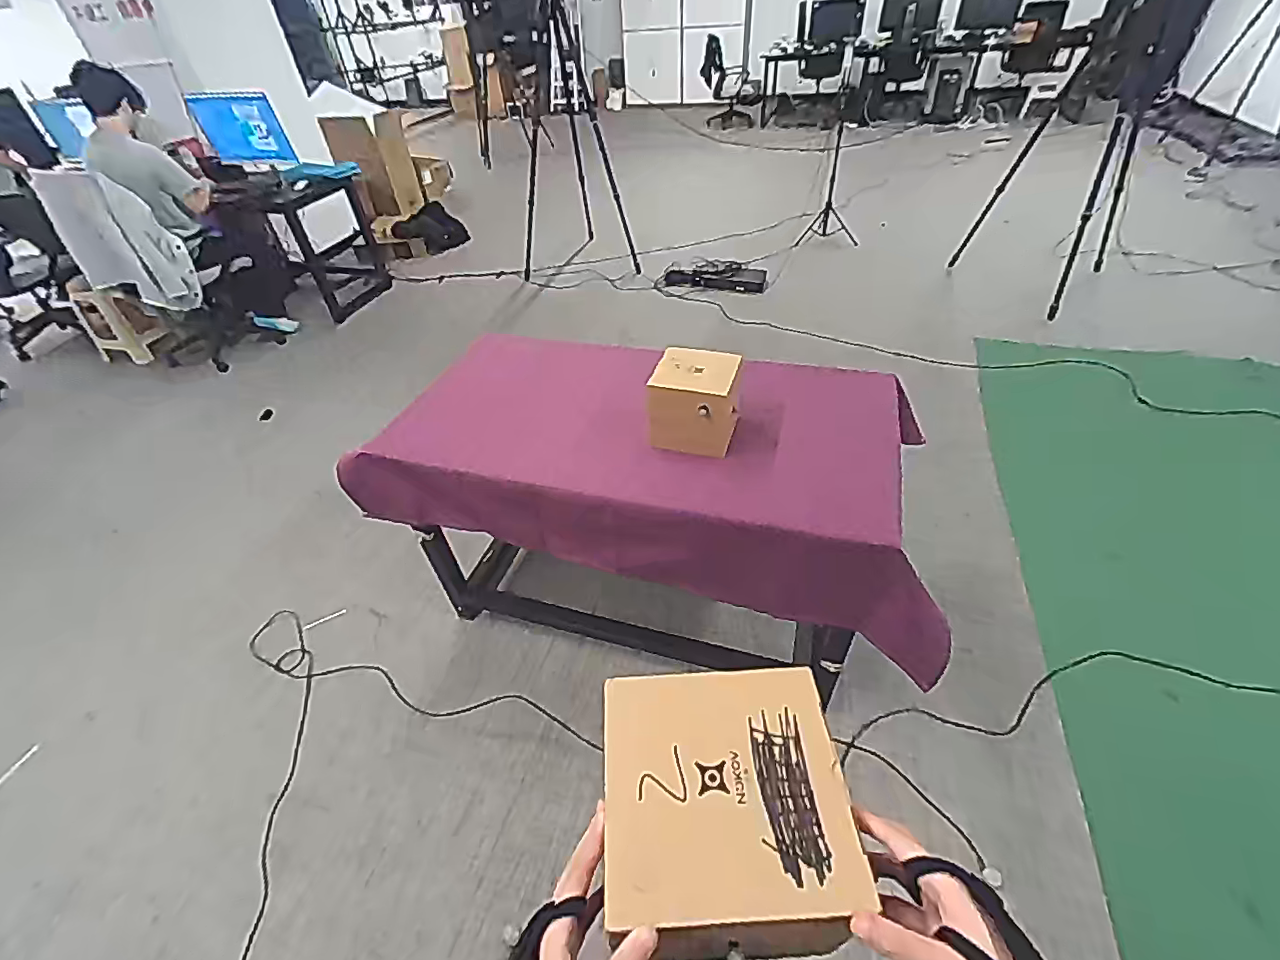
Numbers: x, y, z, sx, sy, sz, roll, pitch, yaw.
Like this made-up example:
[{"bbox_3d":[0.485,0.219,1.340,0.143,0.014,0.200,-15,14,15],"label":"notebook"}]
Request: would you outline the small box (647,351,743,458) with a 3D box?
[{"bbox_3d":[0.126,-0.169,1.217,0.179,0.176,0.168,10,44,16],"label":"small box"}]
